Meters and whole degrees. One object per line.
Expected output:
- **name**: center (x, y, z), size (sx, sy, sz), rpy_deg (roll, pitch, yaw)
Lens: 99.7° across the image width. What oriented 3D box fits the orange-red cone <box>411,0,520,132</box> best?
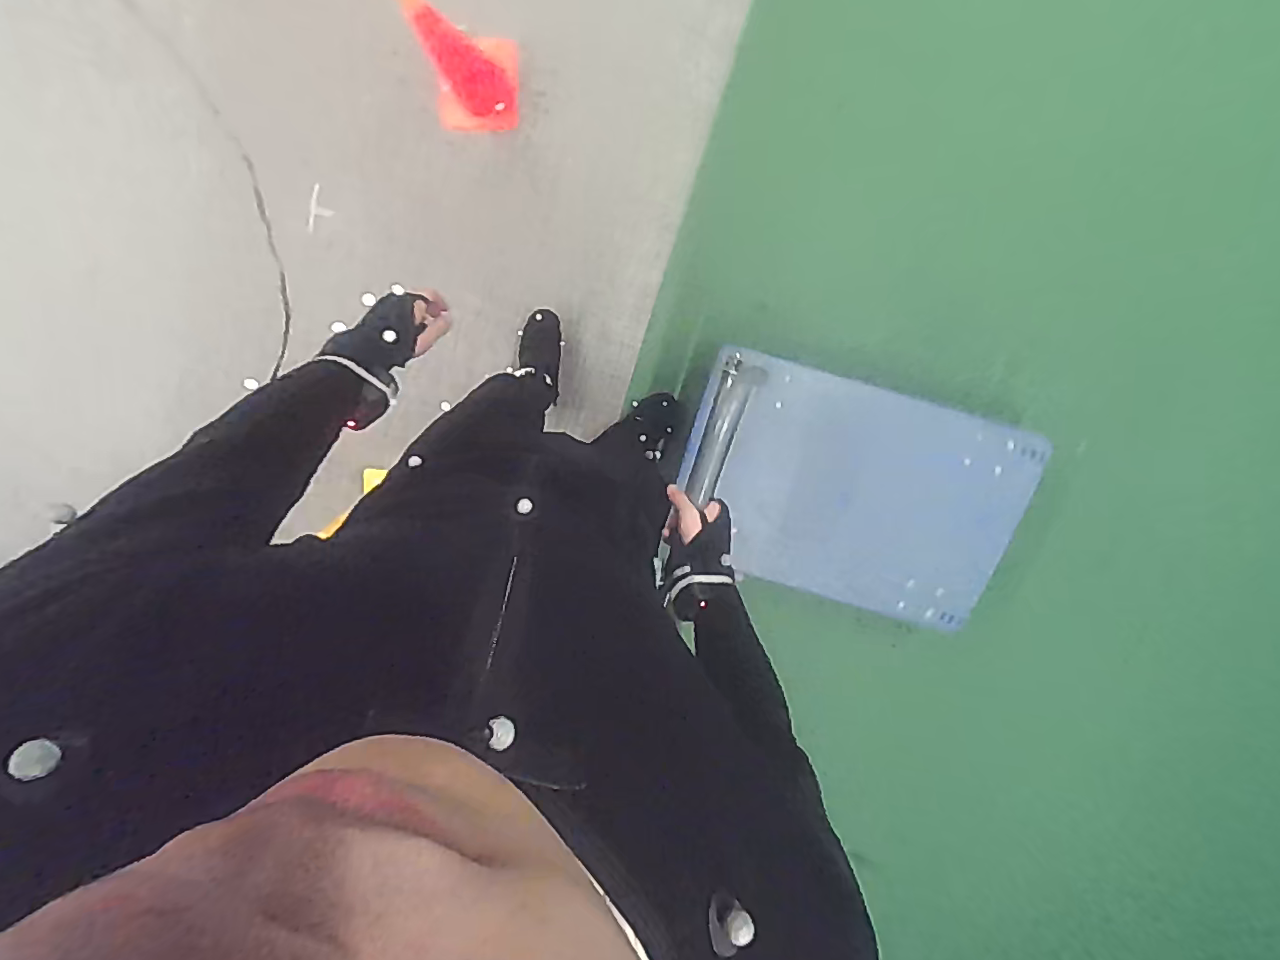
- **orange-red cone**: center (-0.419, -0.971, 1.221), size (0.198, 0.360, 0.199), rpy_deg (5, 103, 3)
